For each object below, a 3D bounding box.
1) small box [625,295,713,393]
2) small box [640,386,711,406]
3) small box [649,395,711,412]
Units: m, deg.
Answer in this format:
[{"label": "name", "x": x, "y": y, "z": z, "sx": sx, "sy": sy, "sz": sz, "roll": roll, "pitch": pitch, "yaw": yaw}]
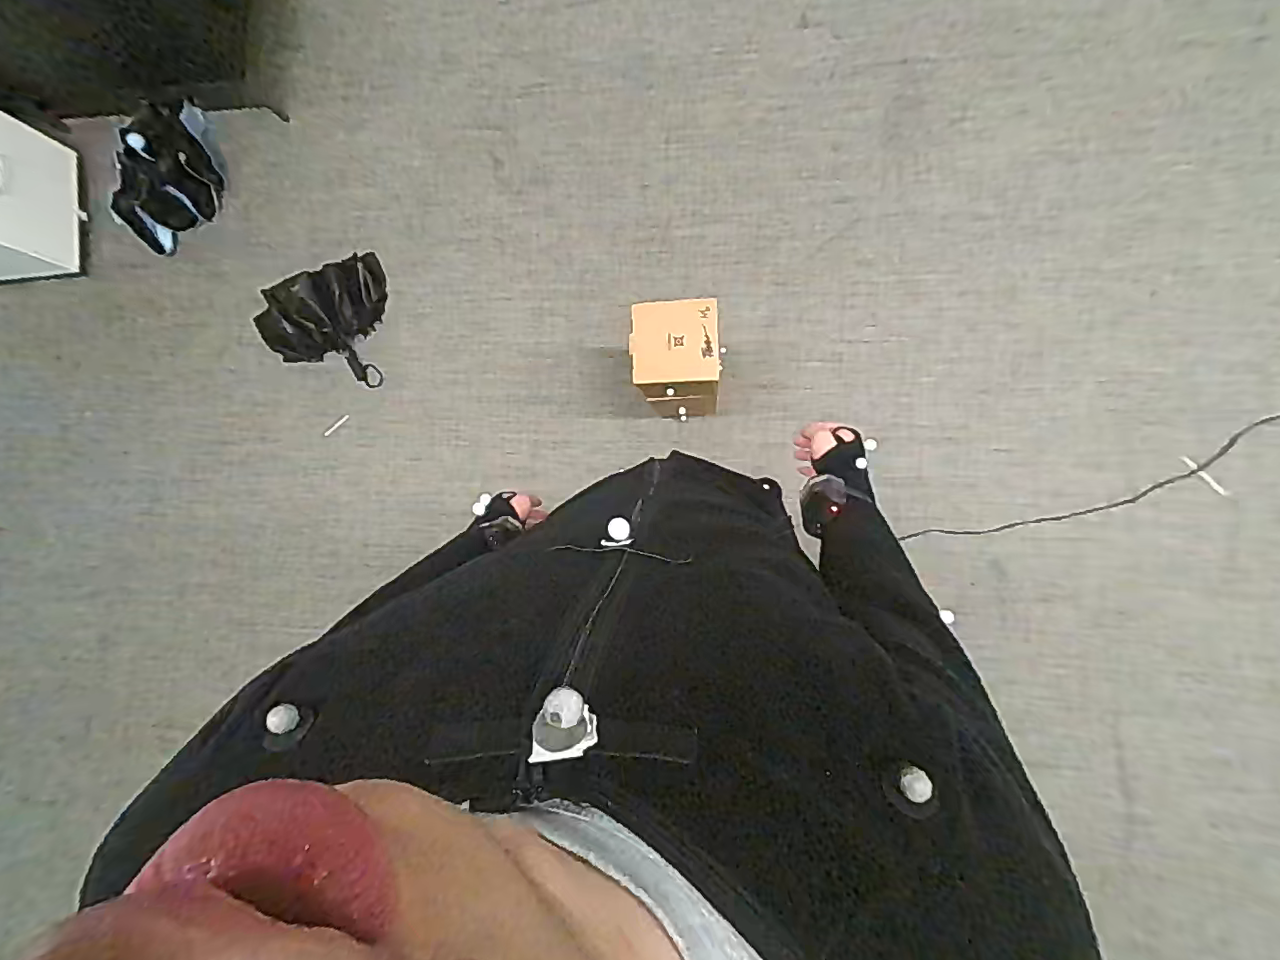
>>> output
[{"label": "small box", "x": 0.068, "y": -0.283, "z": 1.162, "sx": 0.179, "sy": 0.176, "sz": 0.168, "roll": -1, "pitch": 89, "yaw": 8}, {"label": "small box", "x": 0.087, "y": -0.283, "z": 1.324, "sx": 0.168, "sy": 0.176, "sz": 0.179, "roll": -3, "pitch": 90, "yaw": 7}, {"label": "small box", "x": 0.109, "y": -0.288, "z": 1.488, "sx": 0.168, "sy": 0.176, "sz": 0.179, "roll": -2, "pitch": 91, "yaw": 7}]
